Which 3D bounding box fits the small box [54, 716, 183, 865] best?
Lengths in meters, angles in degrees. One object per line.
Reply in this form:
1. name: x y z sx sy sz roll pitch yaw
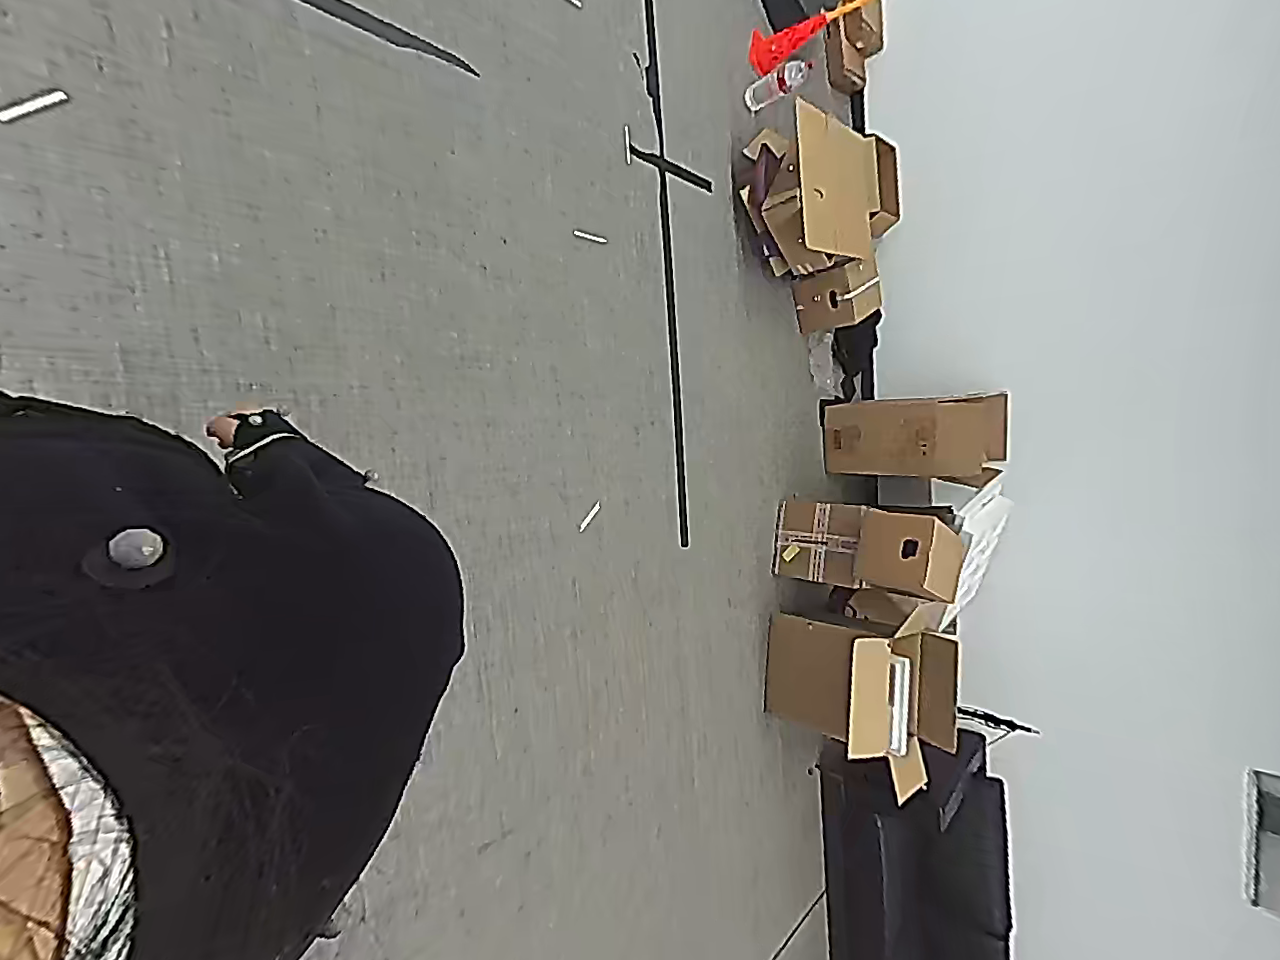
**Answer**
1. small box: -1.004 0.578 1.042 0.168 0.176 0.179 -6 94 -45
